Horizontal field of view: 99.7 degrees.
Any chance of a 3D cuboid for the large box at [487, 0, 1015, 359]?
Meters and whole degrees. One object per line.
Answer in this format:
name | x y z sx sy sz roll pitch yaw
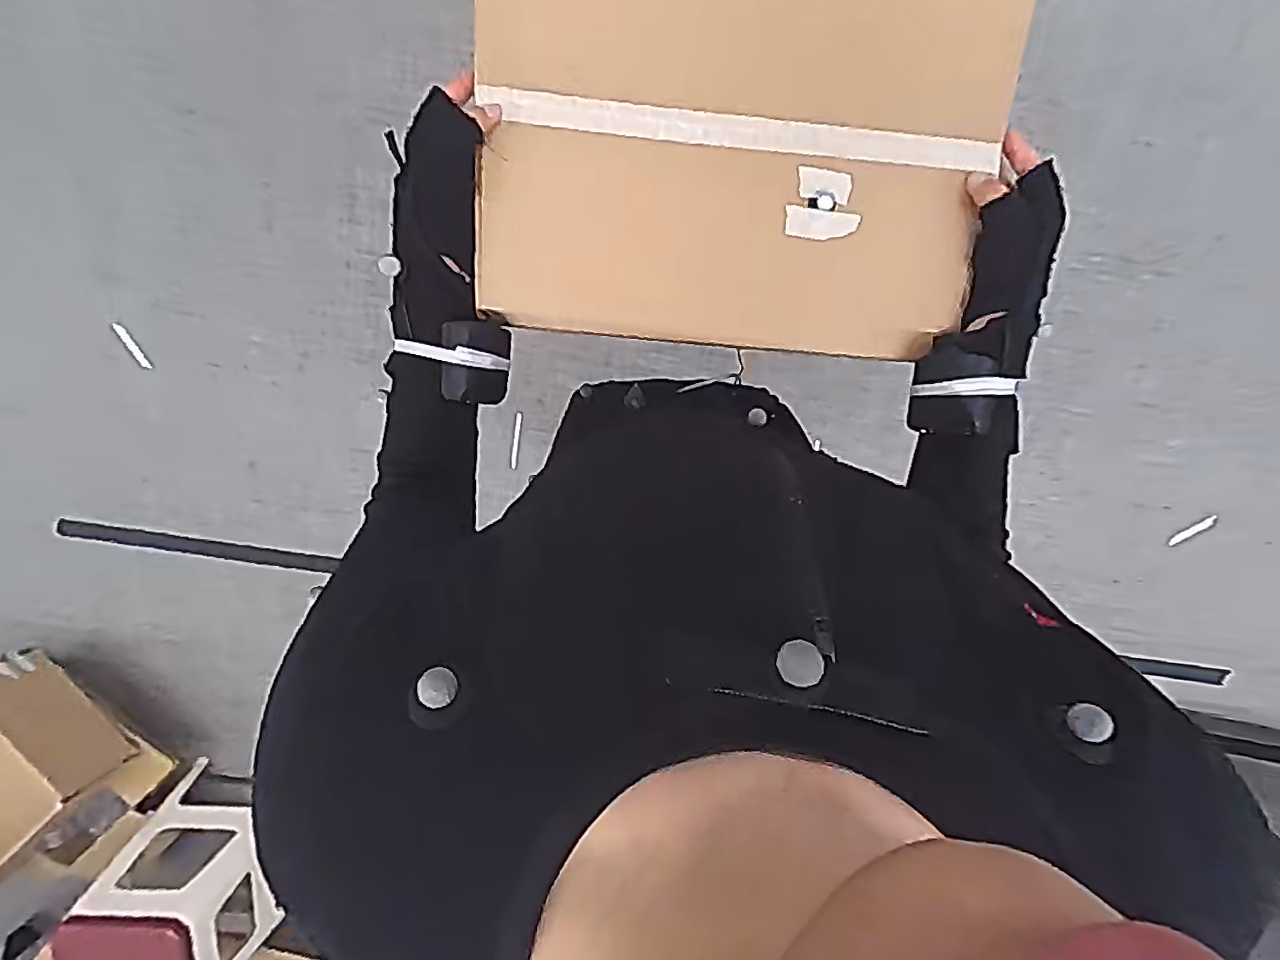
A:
large box | 0.070 -0.305 0.571 0.408 0.320 0.320 4 106 -5
